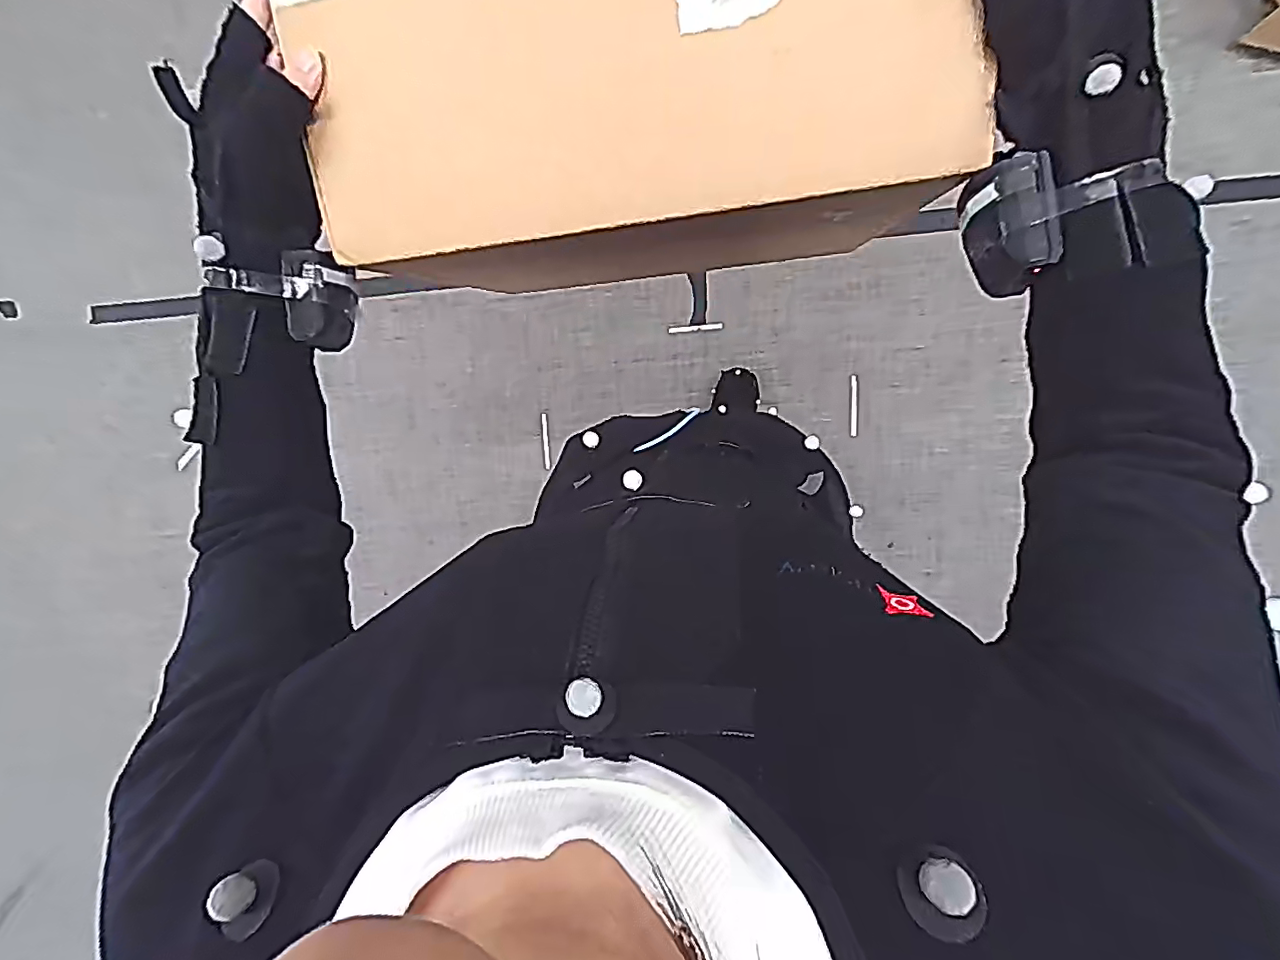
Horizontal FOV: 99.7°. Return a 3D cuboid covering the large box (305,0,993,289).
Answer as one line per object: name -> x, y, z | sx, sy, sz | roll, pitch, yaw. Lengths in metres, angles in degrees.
large box -> 0.004, -0.357, 0.446 | 0.408, 0.320, 0.320 | -5, 105, 9
